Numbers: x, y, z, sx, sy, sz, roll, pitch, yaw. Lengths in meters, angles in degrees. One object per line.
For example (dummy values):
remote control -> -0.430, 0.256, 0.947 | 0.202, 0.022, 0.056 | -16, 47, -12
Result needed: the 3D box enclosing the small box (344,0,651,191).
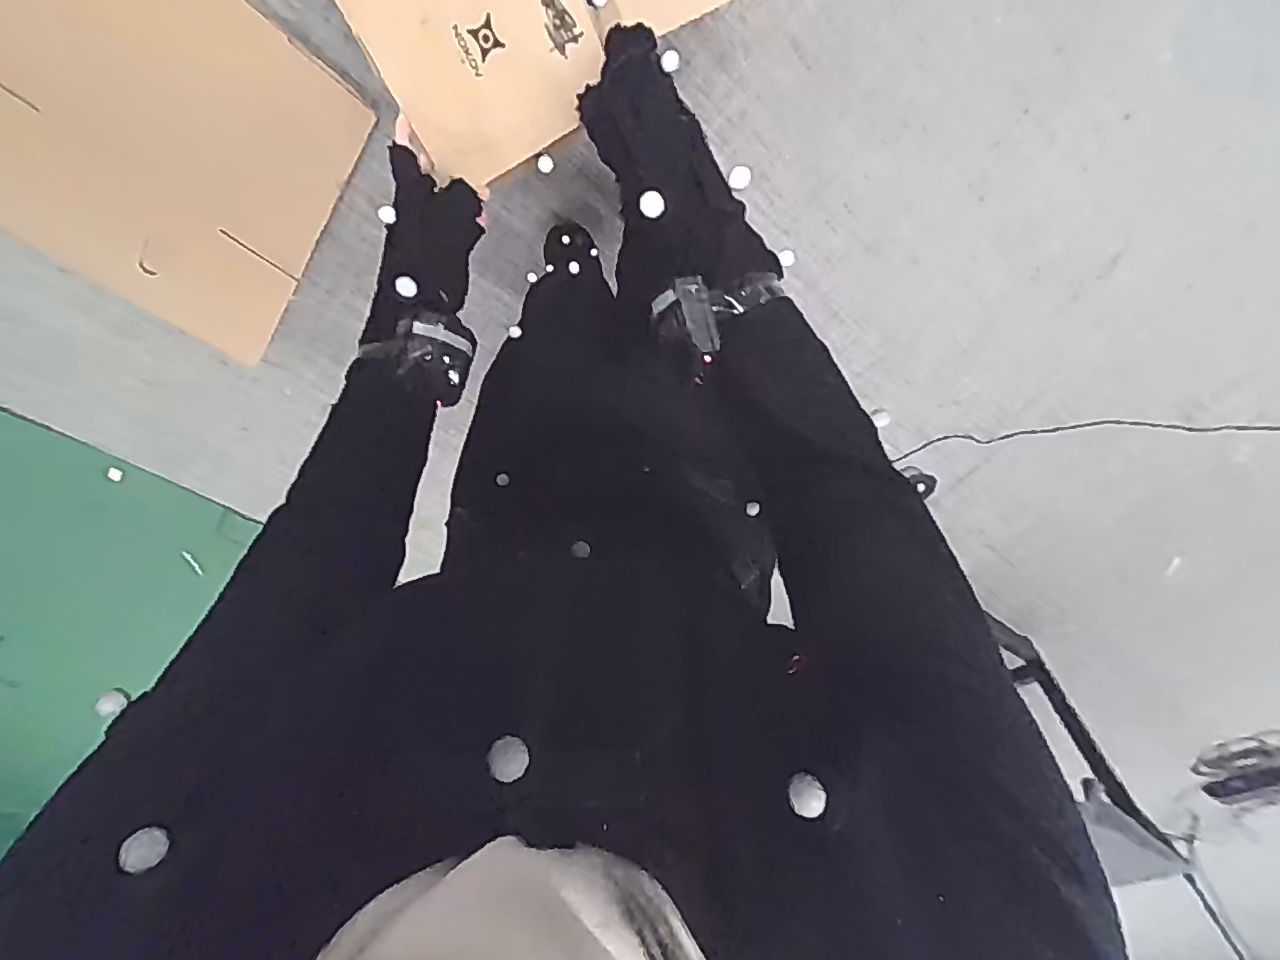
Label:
small box -> -0.110, -0.391, 0.489 | 0.179, 0.176, 0.168 | -21, 116, 23
